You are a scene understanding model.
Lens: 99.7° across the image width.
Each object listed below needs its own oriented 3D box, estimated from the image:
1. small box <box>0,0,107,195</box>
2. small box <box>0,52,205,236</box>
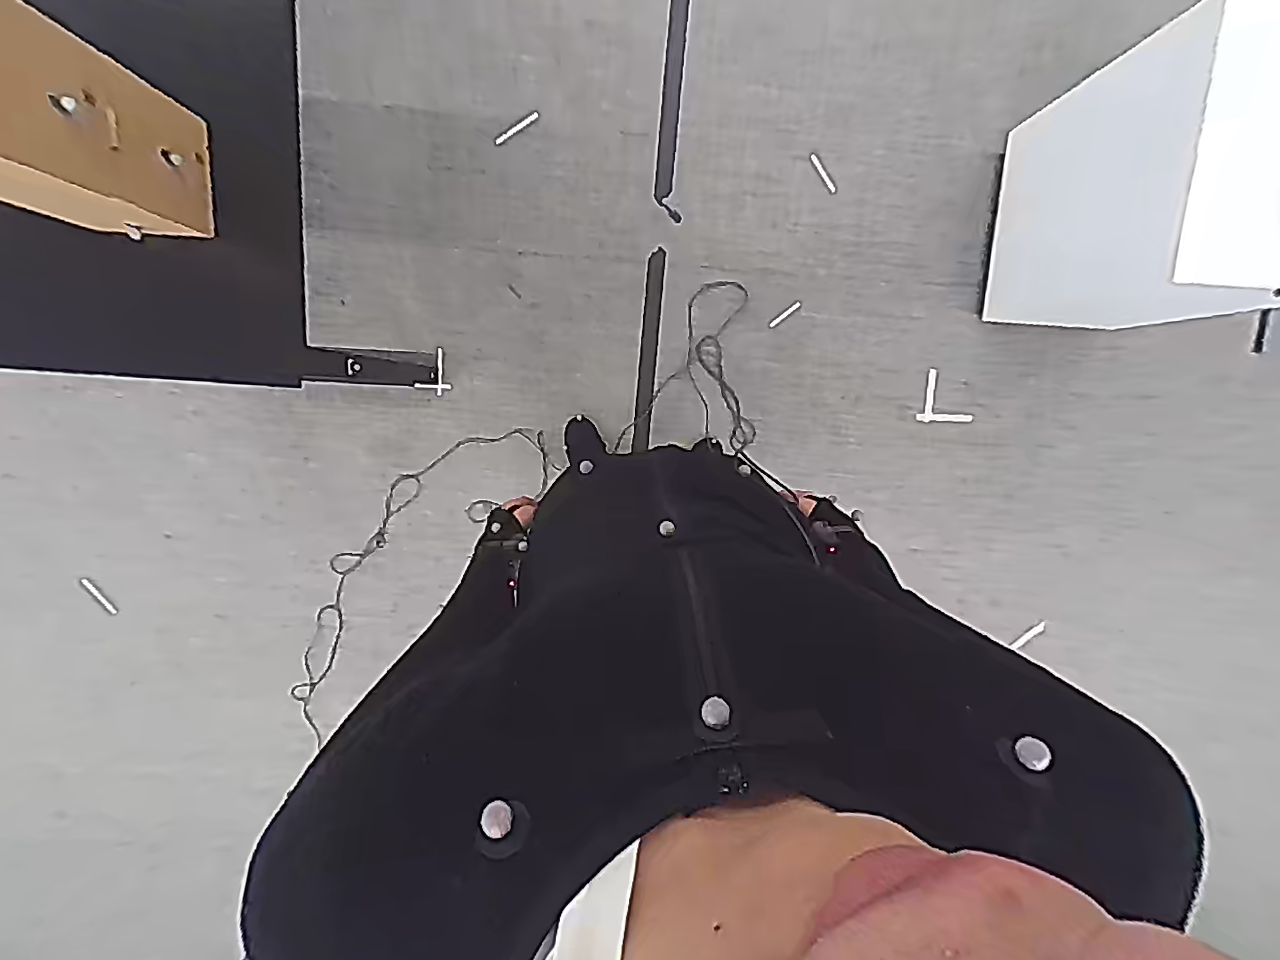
[{"bbox_3d":[-0.720,-0.412,0.558,0.179,0.176,0.168,2,99,-2],"label":"small box"},{"bbox_3d":[-0.724,-0.437,0.721,0.179,0.176,0.168,2,98,-3],"label":"small box"}]
